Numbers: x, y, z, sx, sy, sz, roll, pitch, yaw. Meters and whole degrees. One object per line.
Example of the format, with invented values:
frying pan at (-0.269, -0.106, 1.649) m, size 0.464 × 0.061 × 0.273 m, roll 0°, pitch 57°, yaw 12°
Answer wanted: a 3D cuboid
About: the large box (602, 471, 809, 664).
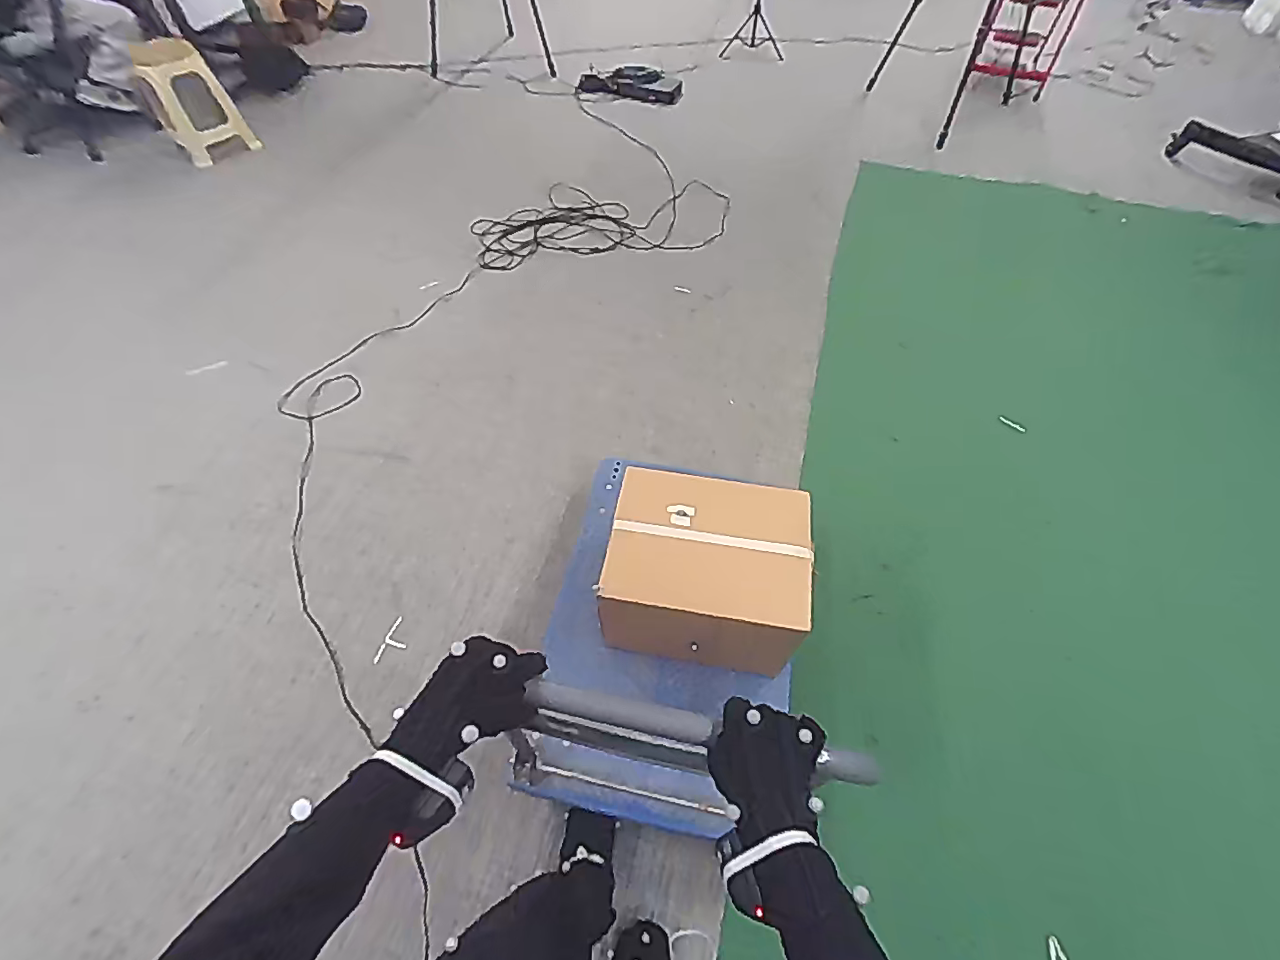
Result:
large box at (0.149, 0.207, 1.235) m, size 0.408 × 0.320 × 0.320 m, roll 7°, pitch 56°, yaw 6°
